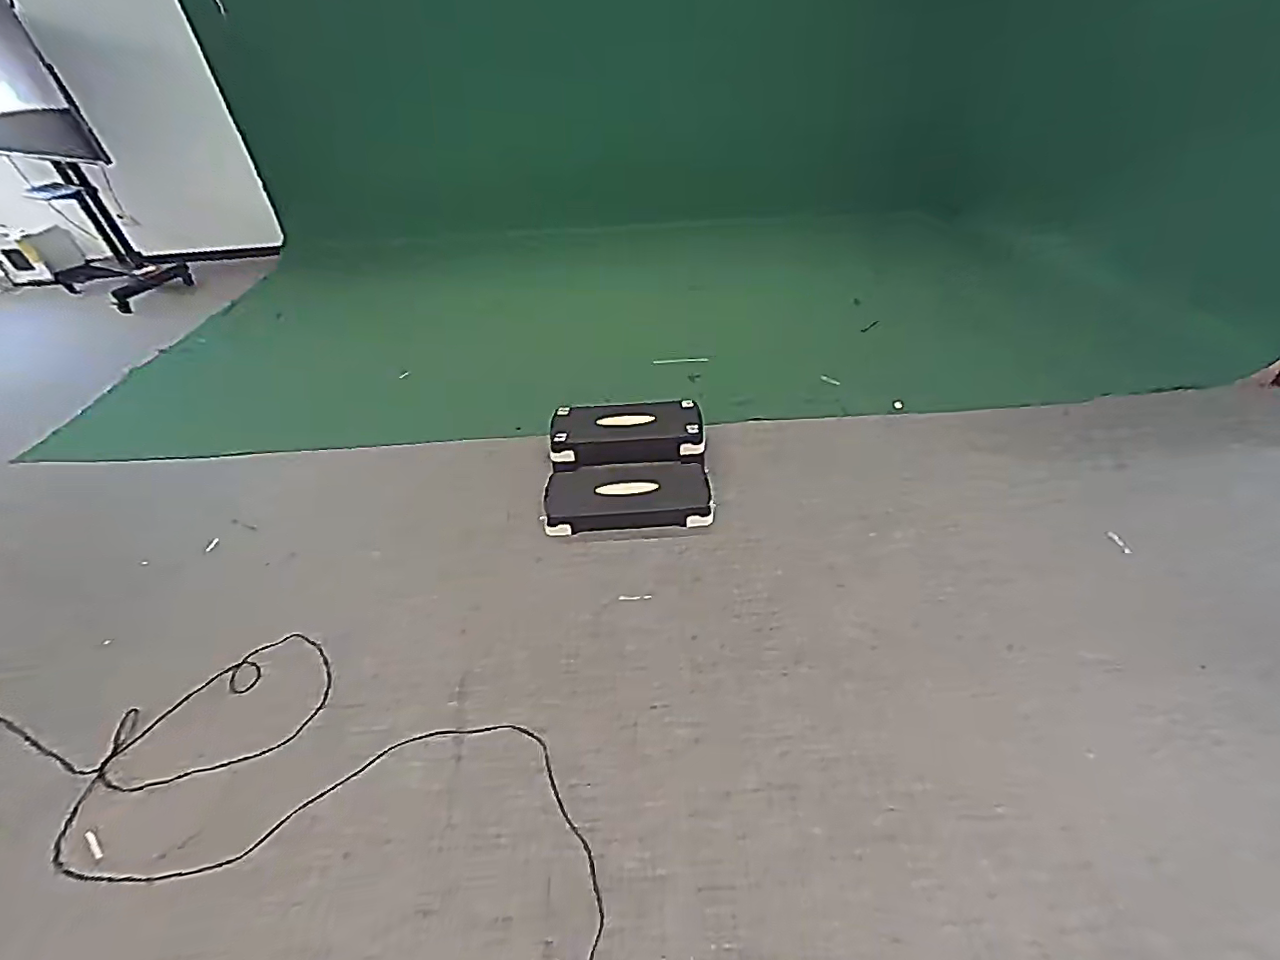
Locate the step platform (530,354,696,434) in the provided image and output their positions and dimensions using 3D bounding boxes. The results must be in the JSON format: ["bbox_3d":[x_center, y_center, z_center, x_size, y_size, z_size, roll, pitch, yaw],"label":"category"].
[{"bbox_3d":[-0.108,-0.365,2.297,0.684,0.204,0.286,-4,41,1],"label":"step platform"}]
